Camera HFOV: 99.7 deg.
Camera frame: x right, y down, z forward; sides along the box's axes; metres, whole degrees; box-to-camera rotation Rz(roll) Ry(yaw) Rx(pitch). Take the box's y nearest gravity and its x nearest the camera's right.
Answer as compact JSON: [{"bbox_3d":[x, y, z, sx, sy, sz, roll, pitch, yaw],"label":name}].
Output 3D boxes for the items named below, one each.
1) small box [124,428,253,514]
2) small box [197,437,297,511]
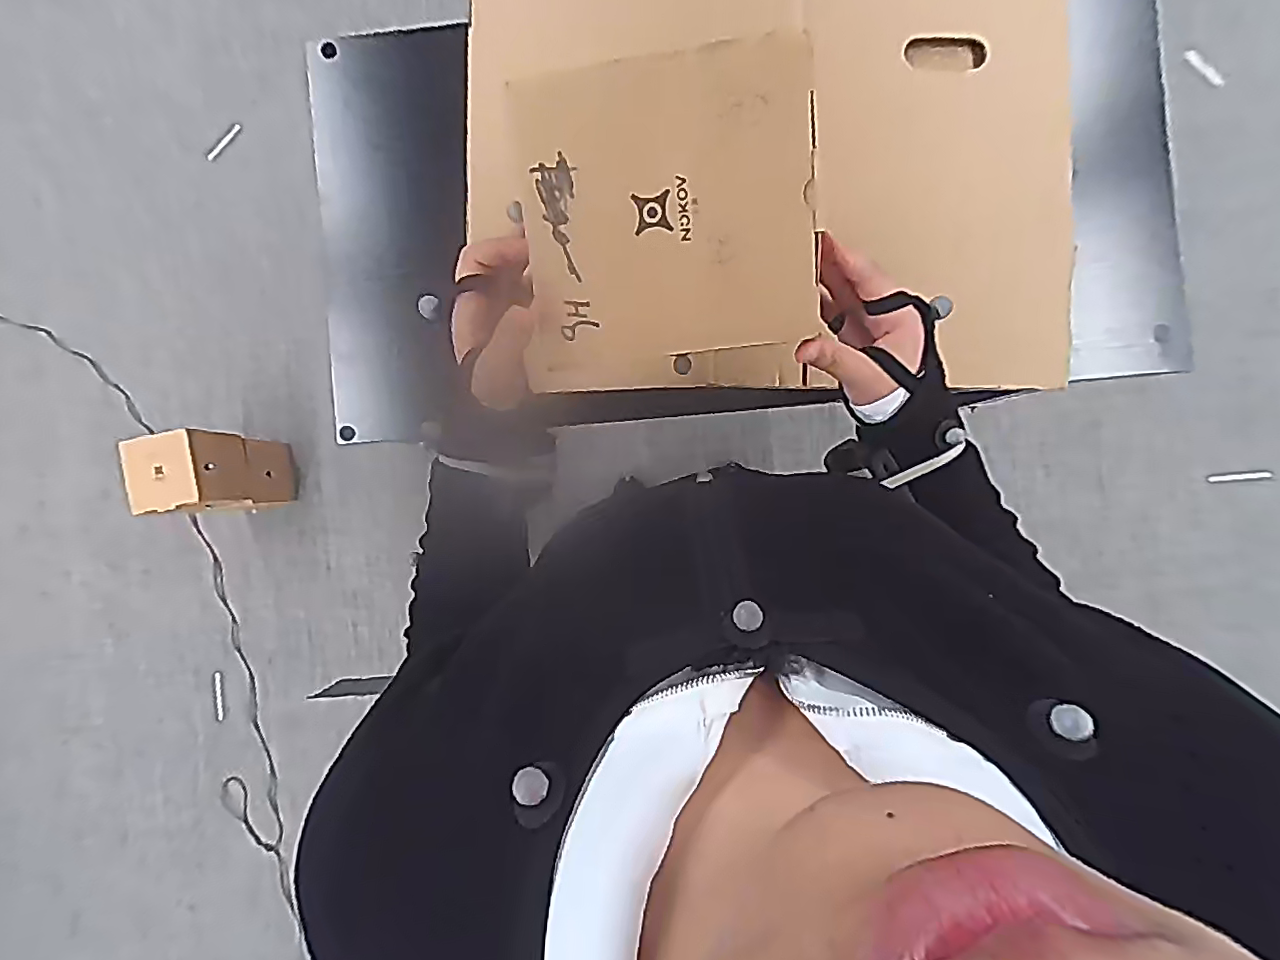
[{"bbox_3d":[-1.091,-0.022,1.321,0.168,0.176,0.179,-12,89,2],"label":"small box"},{"bbox_3d":[-1.082,-0.015,1.484,0.168,0.176,0.179,-9,90,3],"label":"small box"}]
